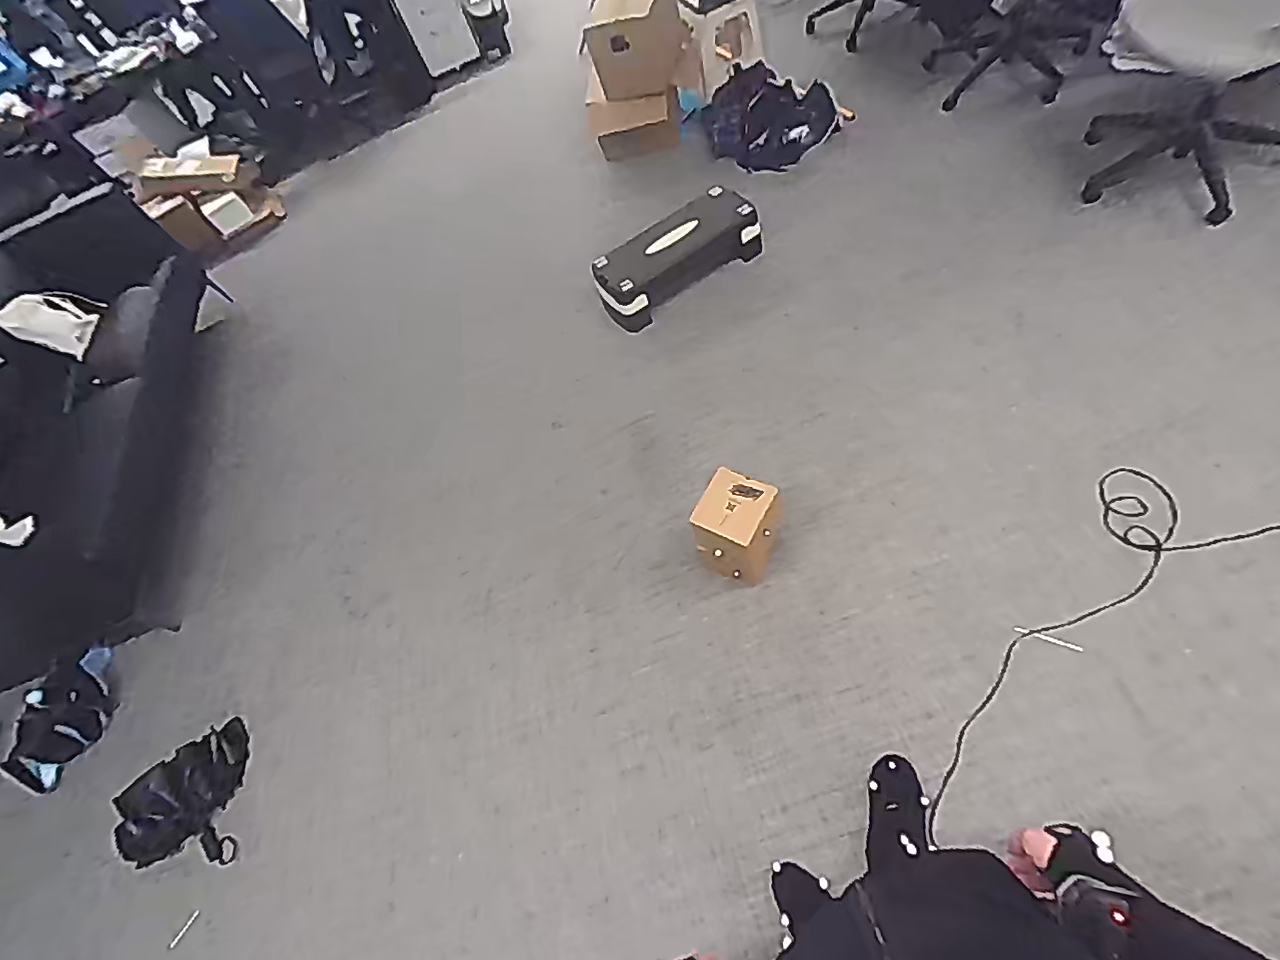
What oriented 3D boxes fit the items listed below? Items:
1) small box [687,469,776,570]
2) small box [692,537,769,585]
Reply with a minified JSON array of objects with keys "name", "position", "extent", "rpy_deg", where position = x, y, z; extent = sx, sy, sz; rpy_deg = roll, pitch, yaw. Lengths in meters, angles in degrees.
[{"name":"small box","position":[0.244,0.107,1.418],"extent":[0.168,0.176,0.179],"rpy_deg":[24,70,27]},{"name":"small box","position":[0.269,0.182,1.563],"extent":[0.168,0.176,0.179],"rpy_deg":[16,65,24]}]
